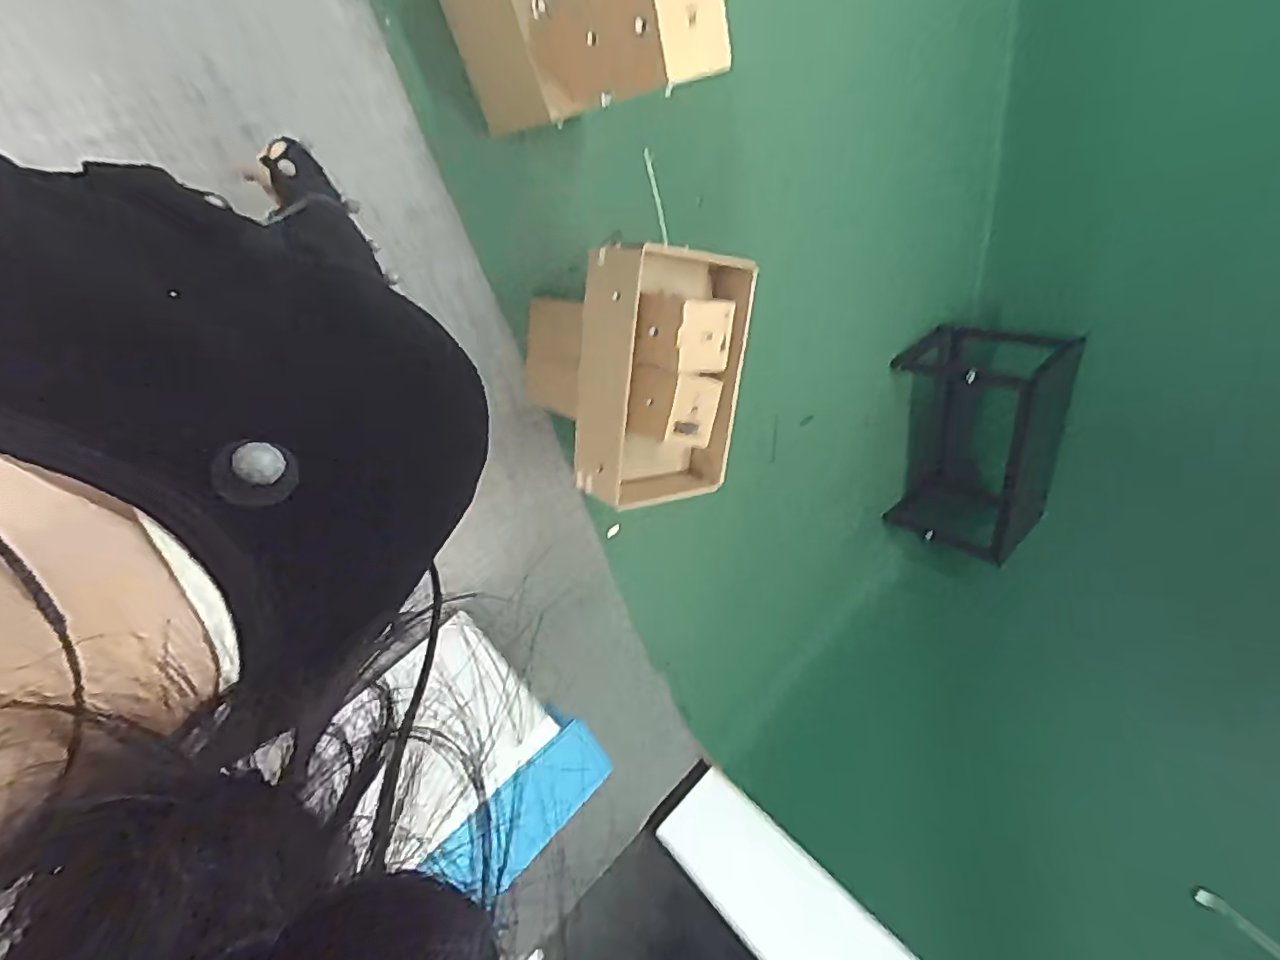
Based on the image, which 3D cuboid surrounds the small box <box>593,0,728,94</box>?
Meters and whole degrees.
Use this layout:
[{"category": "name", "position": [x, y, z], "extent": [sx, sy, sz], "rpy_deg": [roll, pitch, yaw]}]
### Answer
[{"category": "small box", "position": [0.037, -0.846, 1.009], "extent": [0.168, 0.176, 0.179], "rpy_deg": [-34, 127, -24]}]
